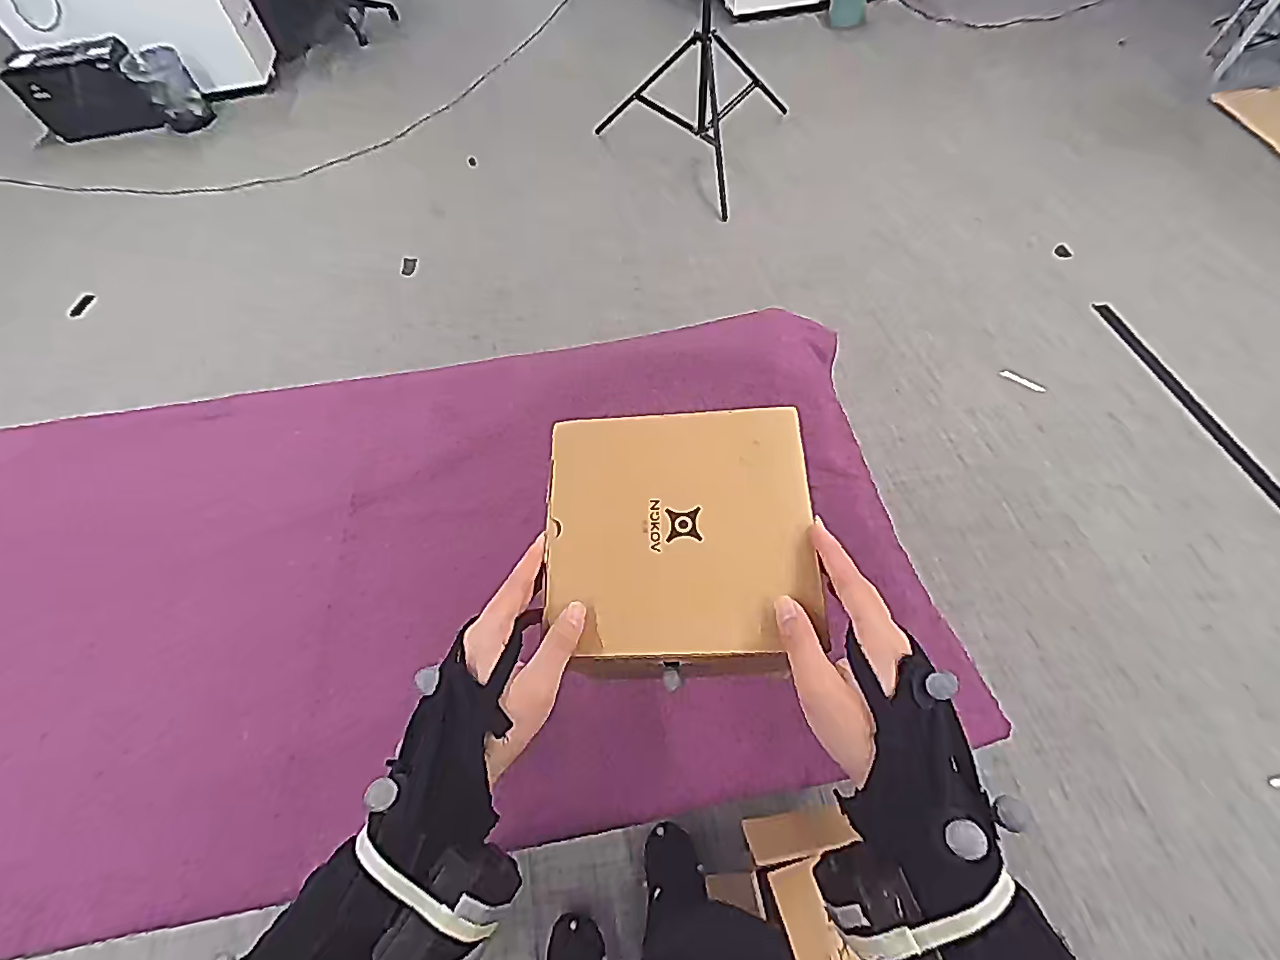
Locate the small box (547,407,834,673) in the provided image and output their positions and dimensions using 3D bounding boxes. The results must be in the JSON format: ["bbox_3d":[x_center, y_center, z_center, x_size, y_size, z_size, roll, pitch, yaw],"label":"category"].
[{"bbox_3d":[0.037,0.059,0.428,0.179,0.176,0.168,-3,66,6],"label":"small box"}]
